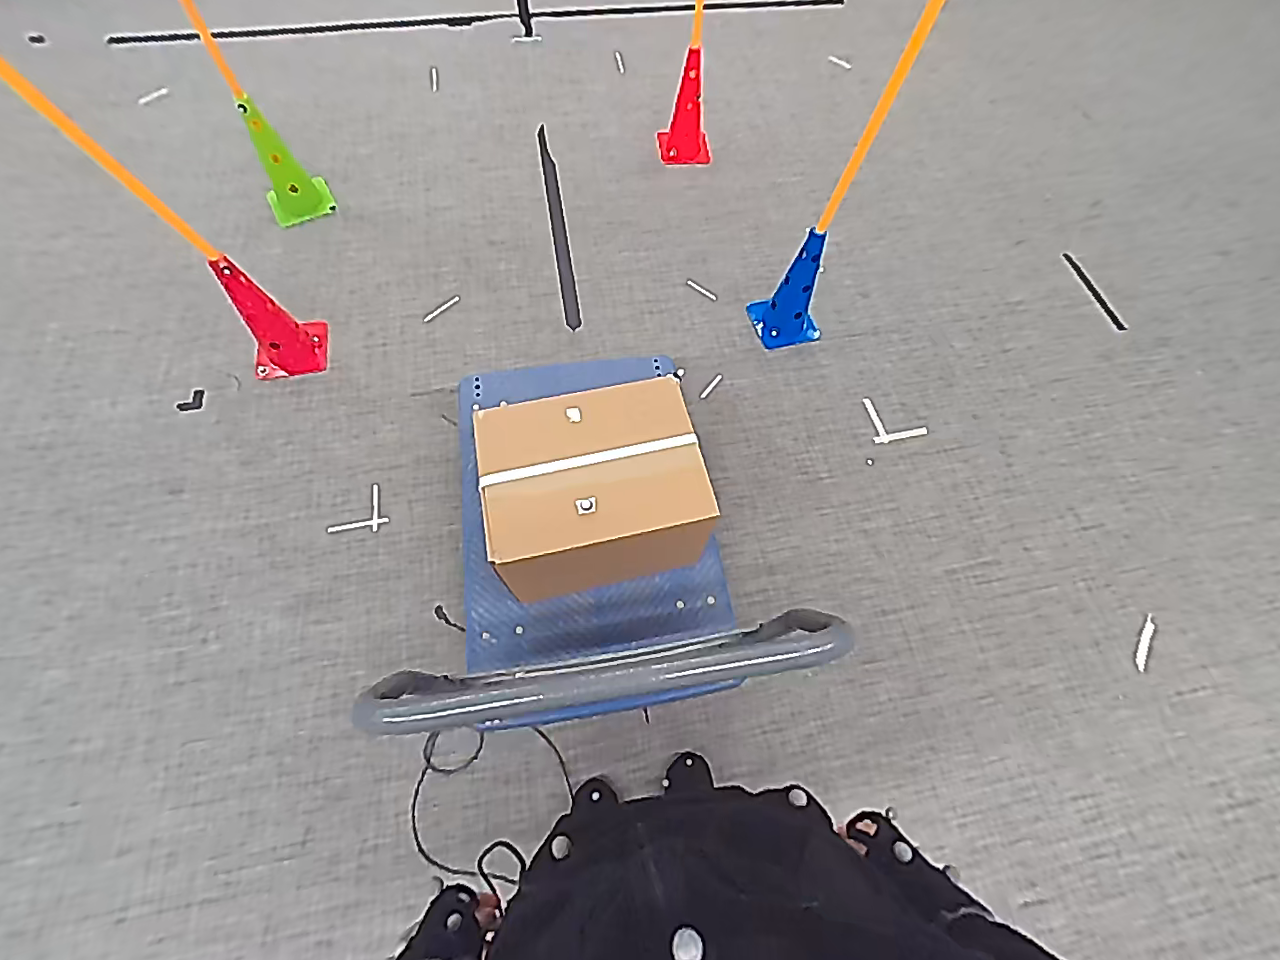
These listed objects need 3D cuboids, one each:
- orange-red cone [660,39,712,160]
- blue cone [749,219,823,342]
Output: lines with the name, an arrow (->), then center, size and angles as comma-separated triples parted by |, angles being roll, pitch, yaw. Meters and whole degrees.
orange-red cone -> 0.189, -1.403, 1.981 | 0.199, 0.360, 0.198 | -2, 66, -5
blue cone -> 0.480, -0.611, 1.638 | 0.193, 0.380, 0.192 | -12, 65, -9
